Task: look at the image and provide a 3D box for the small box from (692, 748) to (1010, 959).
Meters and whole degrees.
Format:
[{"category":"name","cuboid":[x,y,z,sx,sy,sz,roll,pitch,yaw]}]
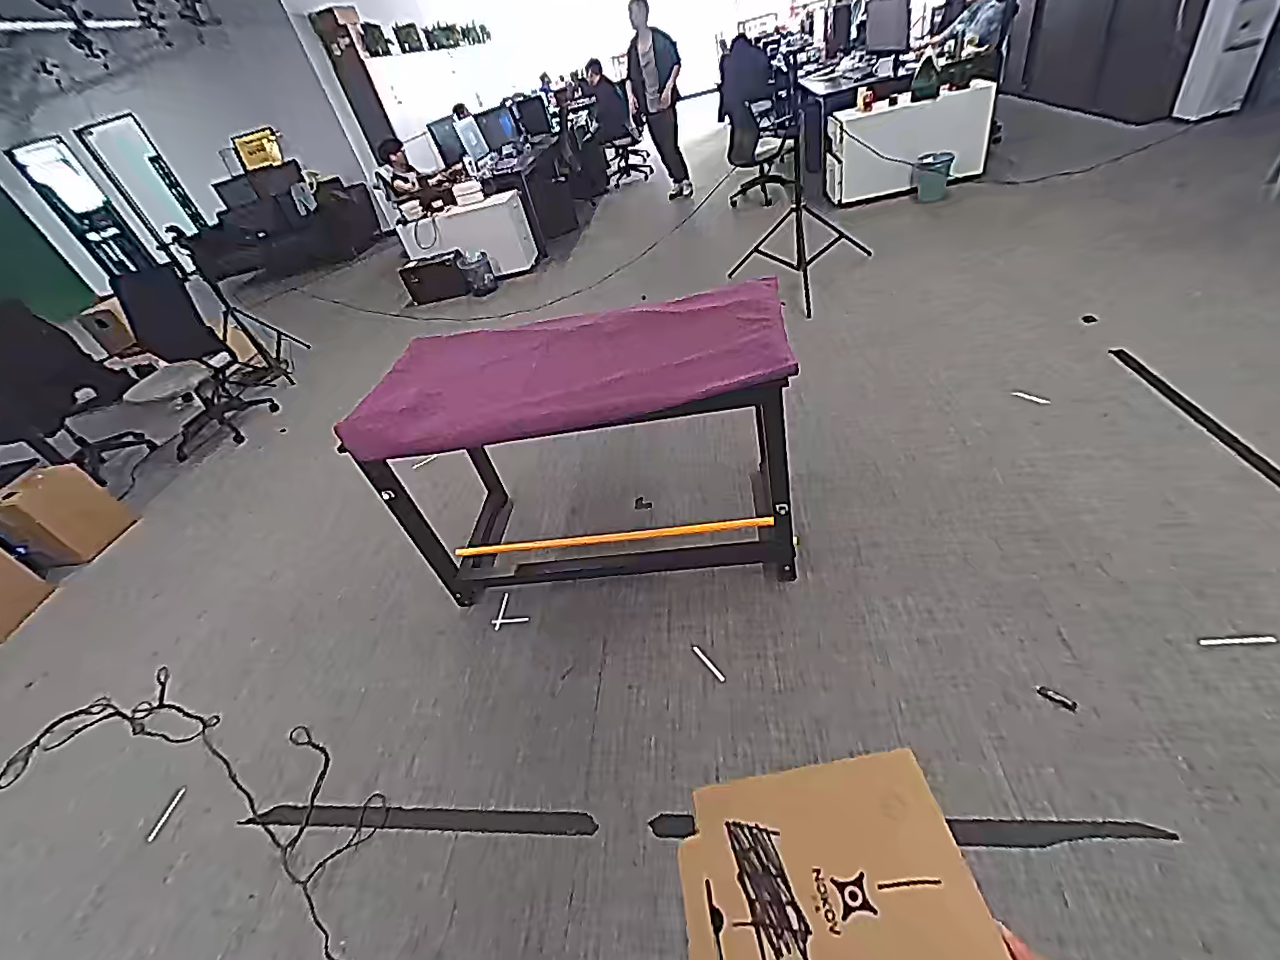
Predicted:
[{"category":"small box","cuboid":[0.147,0.337,0.412,0.179,0.176,0.168,-12,40,2]}]
